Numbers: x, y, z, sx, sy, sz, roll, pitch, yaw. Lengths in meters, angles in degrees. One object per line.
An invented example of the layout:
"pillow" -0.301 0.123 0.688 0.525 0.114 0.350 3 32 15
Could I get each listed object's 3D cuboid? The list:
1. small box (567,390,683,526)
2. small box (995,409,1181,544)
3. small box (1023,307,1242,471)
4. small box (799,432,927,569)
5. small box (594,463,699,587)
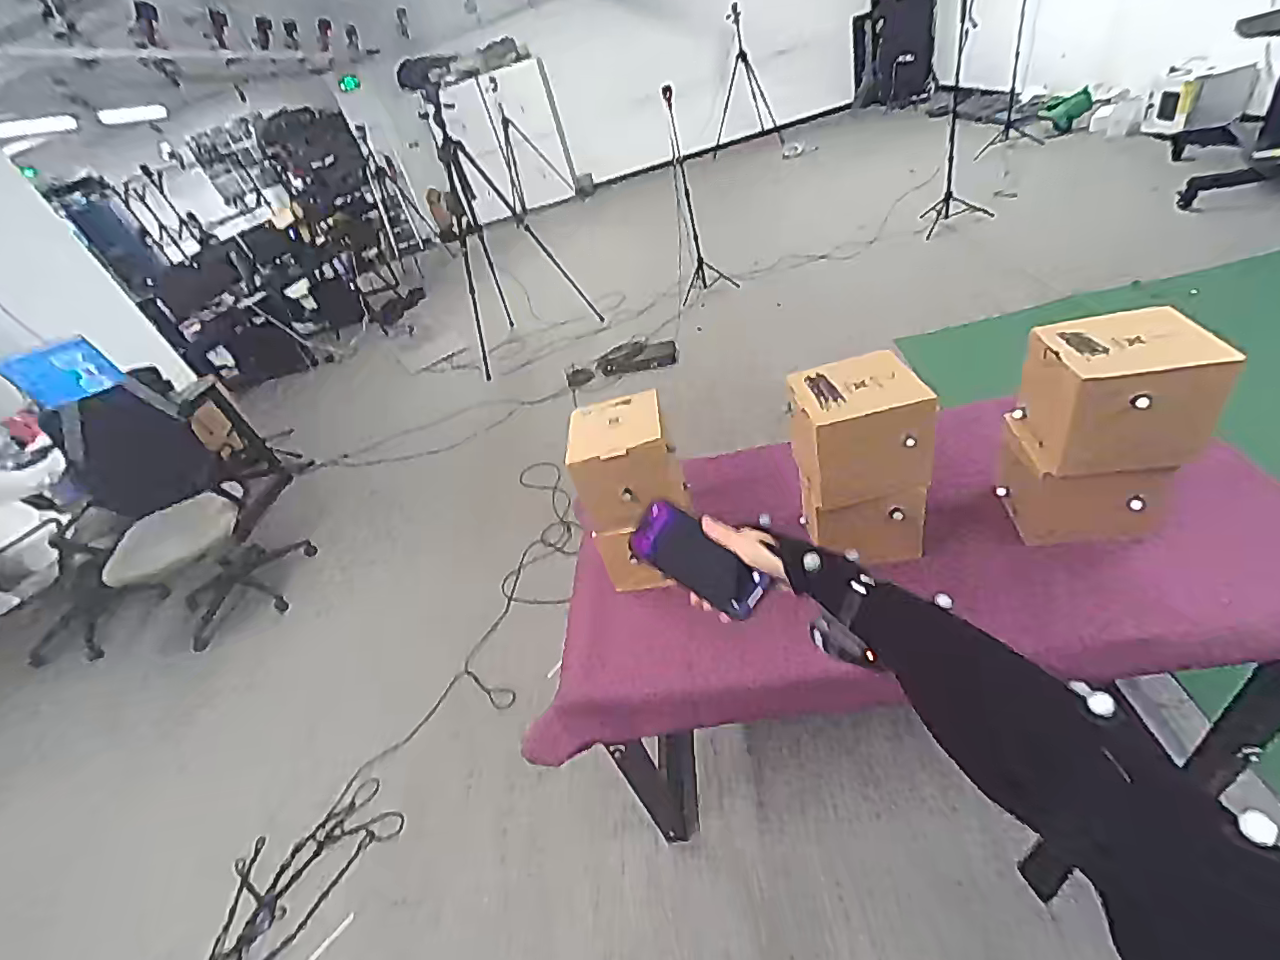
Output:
"small box" -0.023 -0.033 0.984 0.168 0.176 0.179 -13 38 8
"small box" 0.722 -0.011 0.898 0.179 0.176 0.168 -7 38 17
"small box" 0.687 -0.127 0.787 0.179 0.176 0.168 -6 38 16
"small box" 0.396 0.039 0.978 0.179 0.176 0.168 -11 37 12
"small box" 0.021 0.096 1.075 0.168 0.176 0.179 -10 37 12
